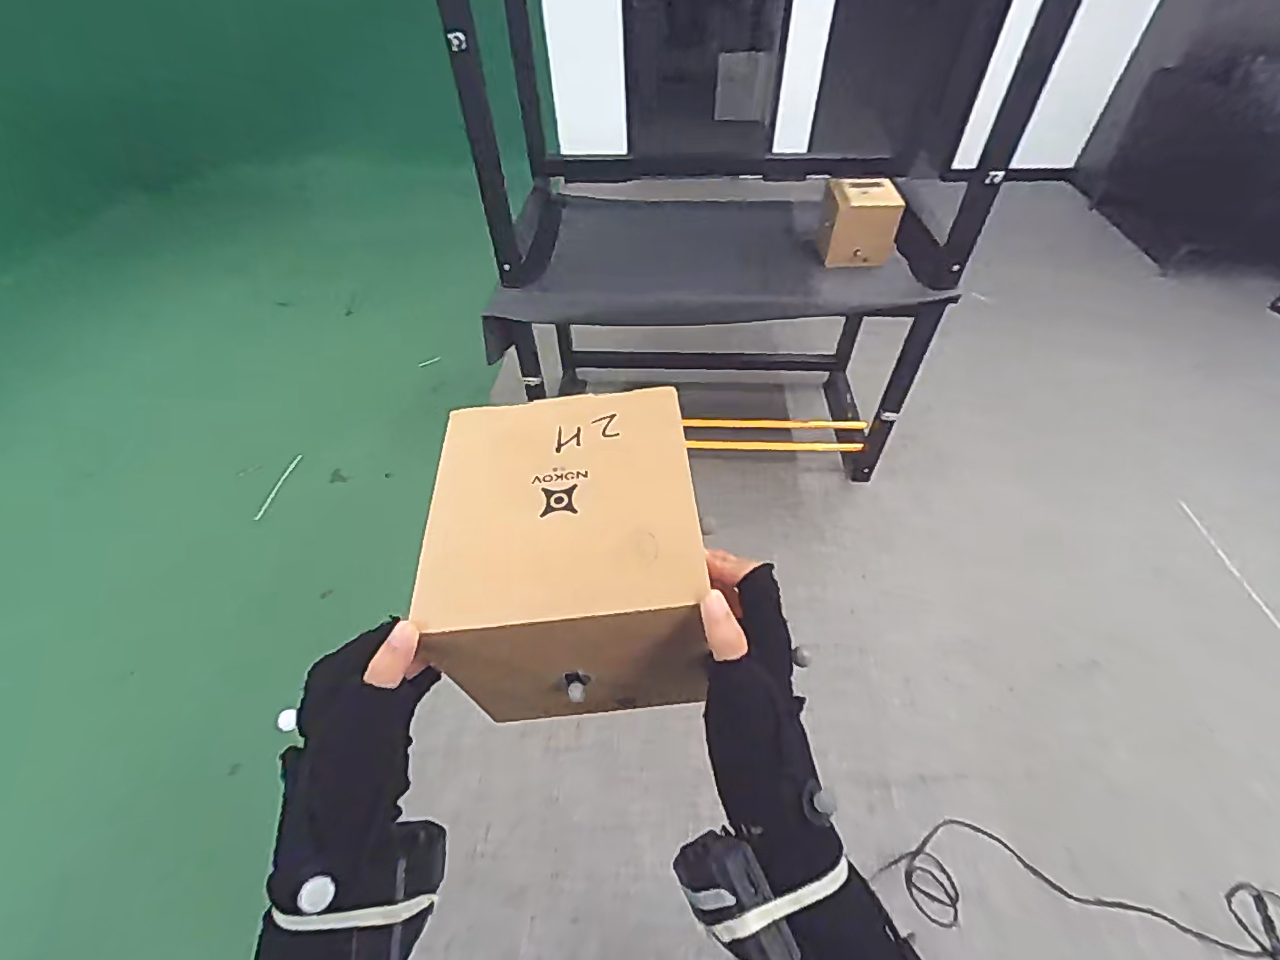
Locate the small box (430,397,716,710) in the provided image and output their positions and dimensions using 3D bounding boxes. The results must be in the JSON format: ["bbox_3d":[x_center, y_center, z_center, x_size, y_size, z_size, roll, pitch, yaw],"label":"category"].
[{"bbox_3d":[-0.037,0.063,0.412,0.168,0.176,0.179,-6,51,0],"label":"small box"}]
